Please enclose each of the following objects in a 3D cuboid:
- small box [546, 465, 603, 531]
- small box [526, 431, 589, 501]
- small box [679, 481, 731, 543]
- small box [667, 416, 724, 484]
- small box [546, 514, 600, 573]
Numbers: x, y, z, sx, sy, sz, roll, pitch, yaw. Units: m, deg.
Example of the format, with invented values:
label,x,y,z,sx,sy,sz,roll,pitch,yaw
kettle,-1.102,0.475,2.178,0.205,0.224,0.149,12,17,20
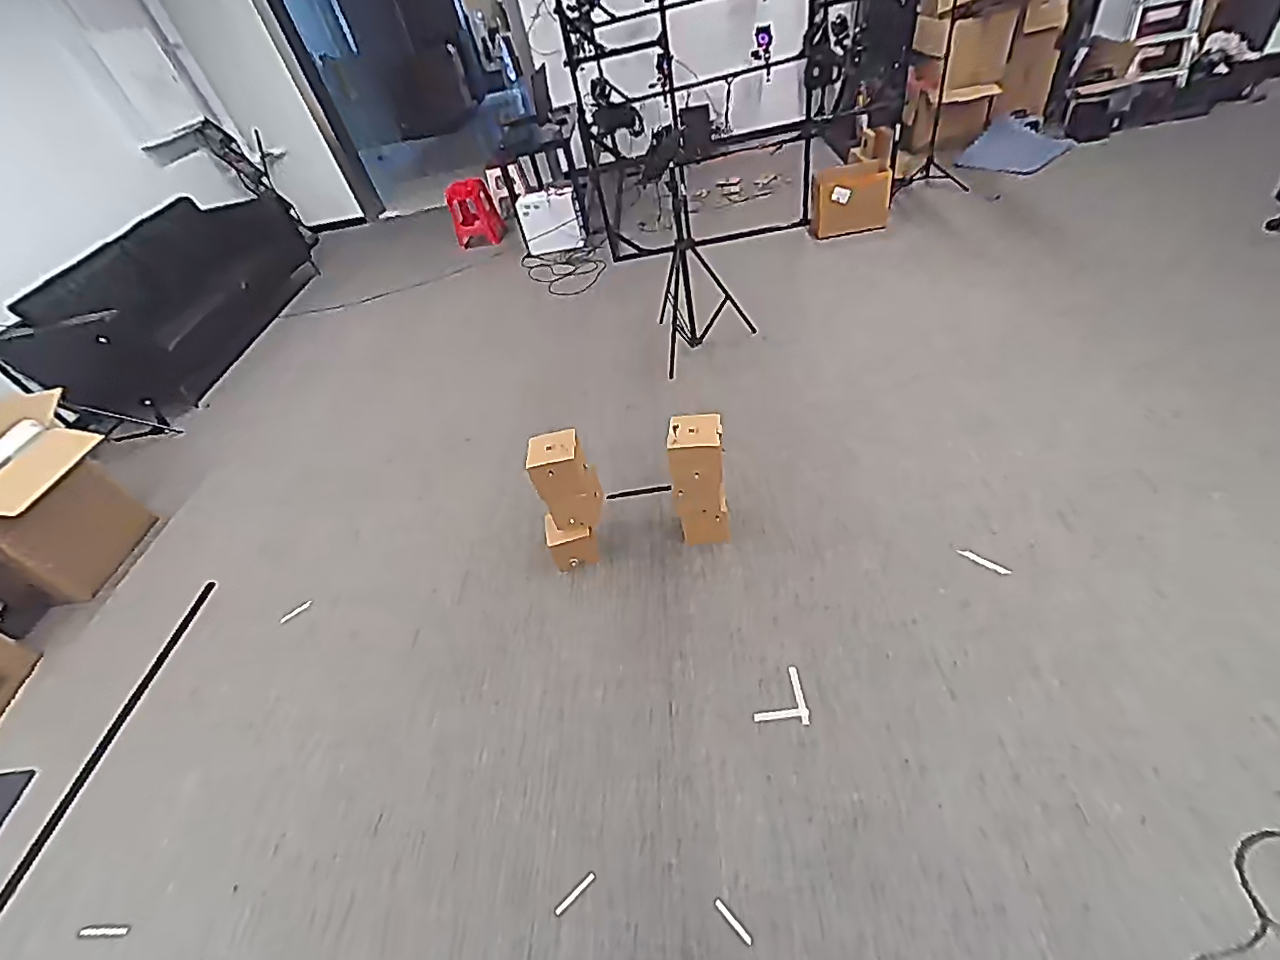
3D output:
label,x,y,z,sx,sy,sz,roll,pitch,yaw
small box,-0.241,0.068,2.029,0.168,0.176,0.179,-6,44,11
small box,-0.288,-0.046,1.919,0.179,0.176,0.168,-11,43,5
small box,0.249,0.128,2.070,0.179,0.176,0.168,-7,44,7
small box,0.195,-0.100,1.840,0.179,0.176,0.168,-1,44,12
small box,-0.260,0.231,2.106,0.168,0.176,0.179,-16,44,0
